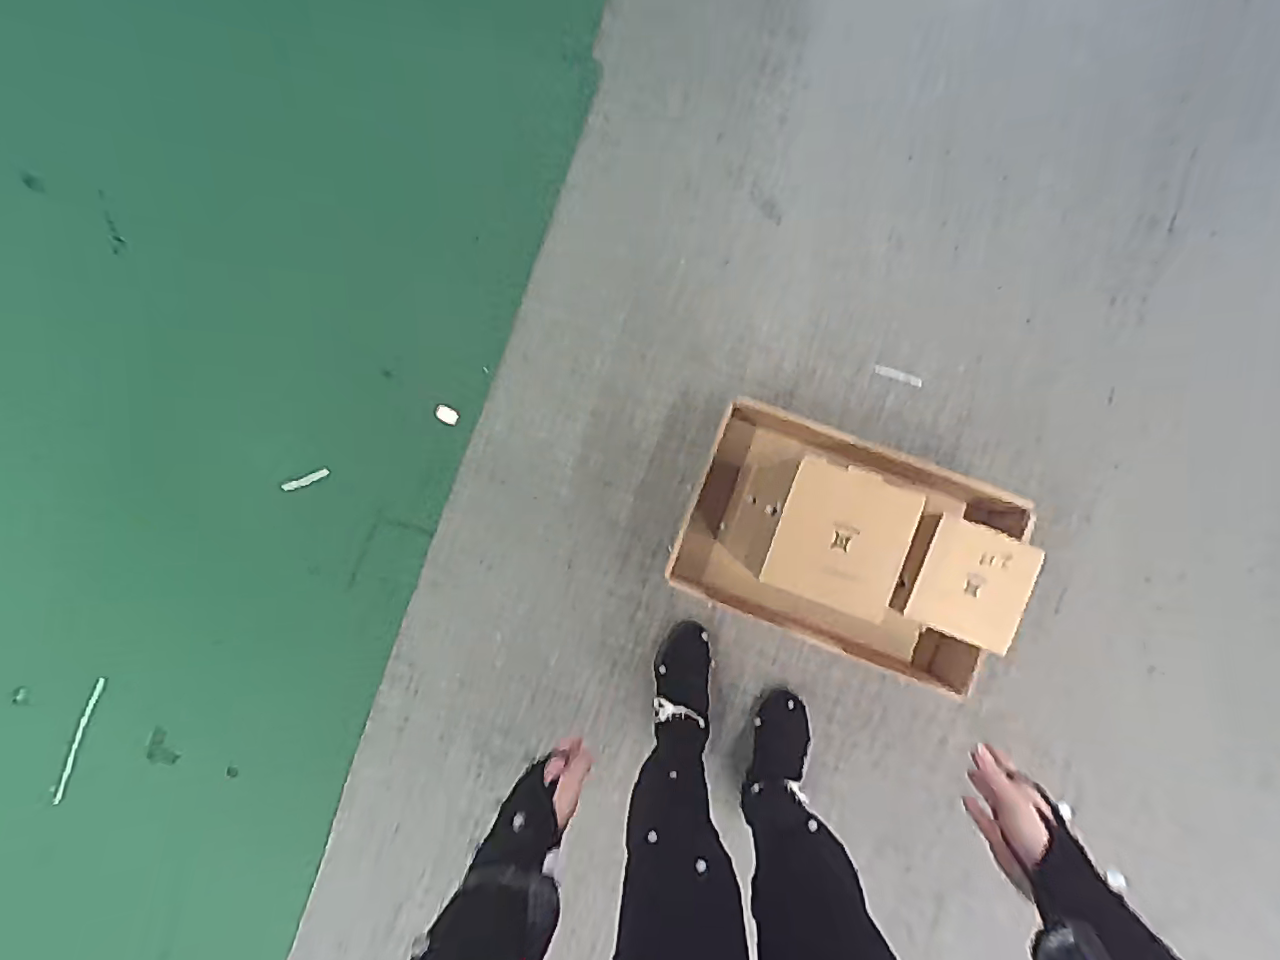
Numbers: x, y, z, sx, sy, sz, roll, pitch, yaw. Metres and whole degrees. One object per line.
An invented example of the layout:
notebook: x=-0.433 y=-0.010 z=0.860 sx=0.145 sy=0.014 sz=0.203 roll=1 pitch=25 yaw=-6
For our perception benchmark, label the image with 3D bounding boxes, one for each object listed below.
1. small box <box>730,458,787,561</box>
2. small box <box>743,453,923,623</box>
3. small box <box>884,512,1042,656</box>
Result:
small box: x=0.264 y=0.075 z=0.931 sx=0.168 sy=0.176 sz=0.179 roll=20 pitch=90 yaw=3
small box: x=0.258 y=0.074 z=0.768 sx=0.168 sy=0.176 sz=0.179 roll=21 pitch=91 yaw=3
small box: x=0.519 y=0.165 z=0.916 sx=0.168 sy=0.176 sz=0.179 roll=22 pitch=89 yaw=5
